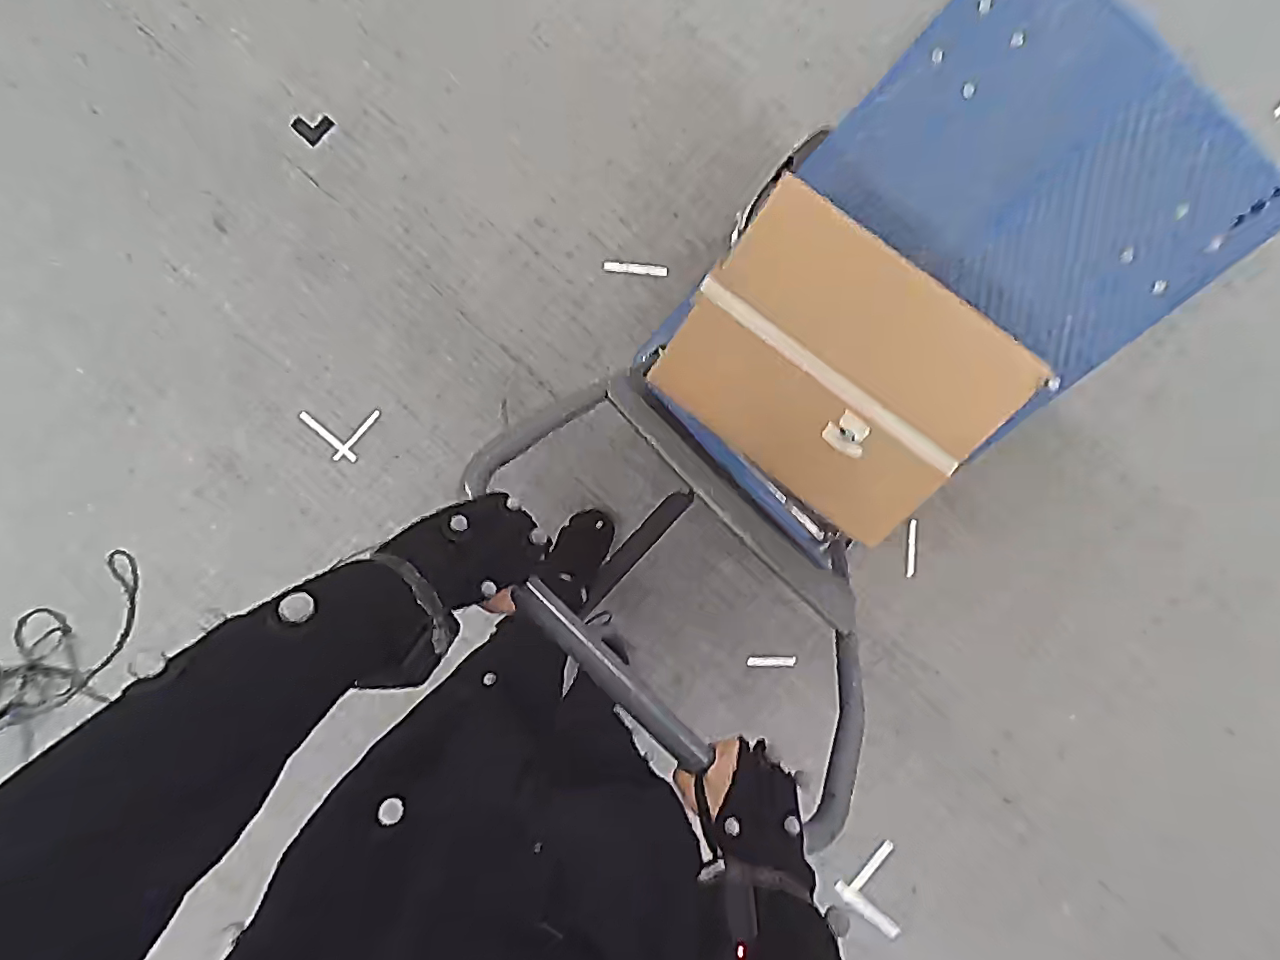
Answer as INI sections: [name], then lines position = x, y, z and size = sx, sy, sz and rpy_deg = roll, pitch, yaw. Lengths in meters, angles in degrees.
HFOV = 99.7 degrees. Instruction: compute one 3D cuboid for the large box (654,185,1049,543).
[large box]
position = 0.292, -0.182, 0.852
size = 0.408, 0.320, 0.320
rpy_deg = 37, 114, 1
